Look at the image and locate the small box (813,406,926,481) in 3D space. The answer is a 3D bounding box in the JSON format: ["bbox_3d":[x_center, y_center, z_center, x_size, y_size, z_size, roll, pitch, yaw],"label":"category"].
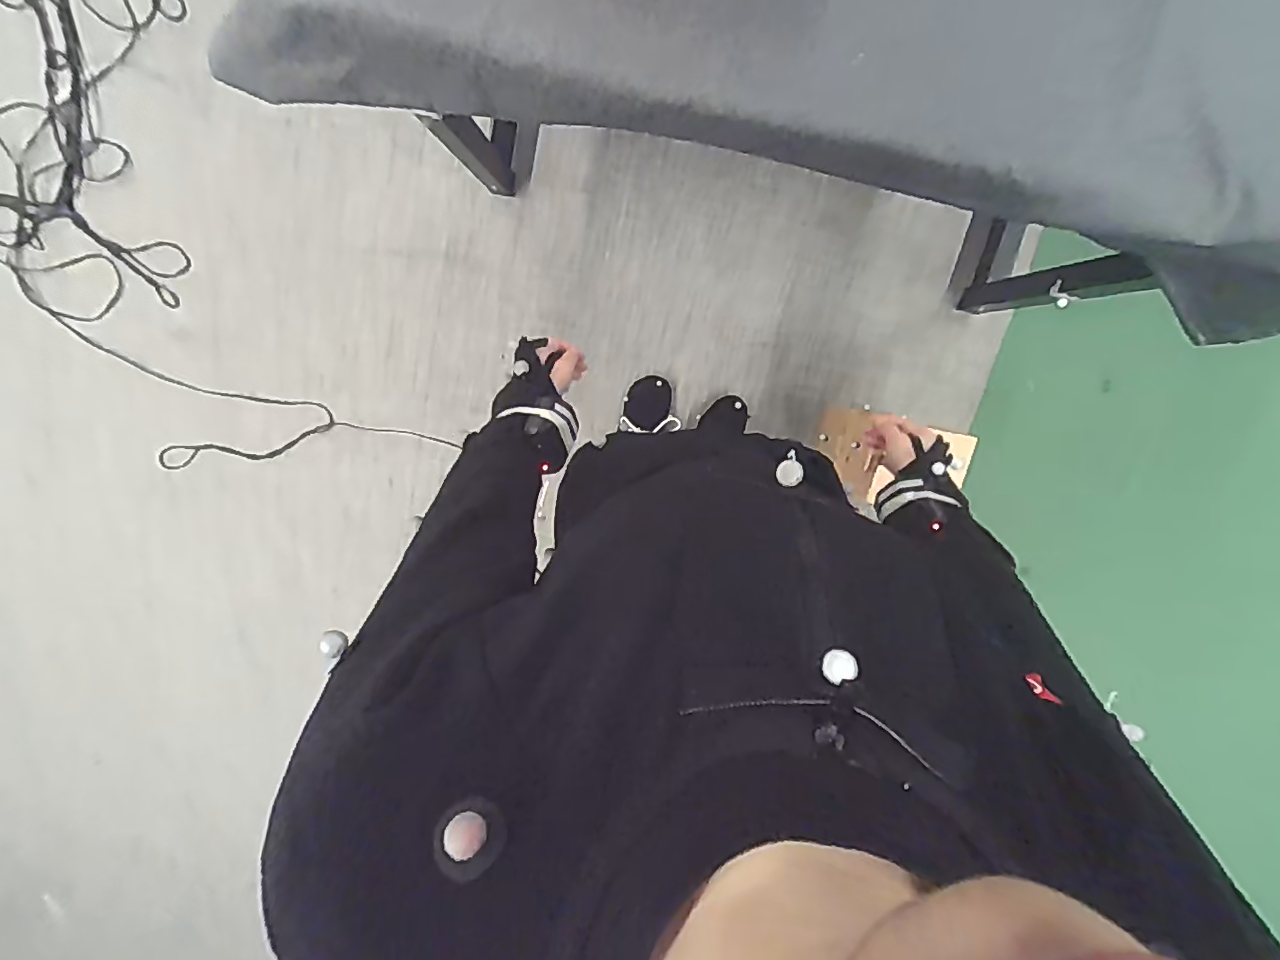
[{"bbox_3d":[0.527,-0.075,1.267,0.179,0.176,0.168,12,101,-1],"label":"small box"}]

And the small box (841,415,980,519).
[{"bbox_3d":[0.542,-0.034,1.107,0.179,0.176,0.168,11,102,-1],"label":"small box"}]
